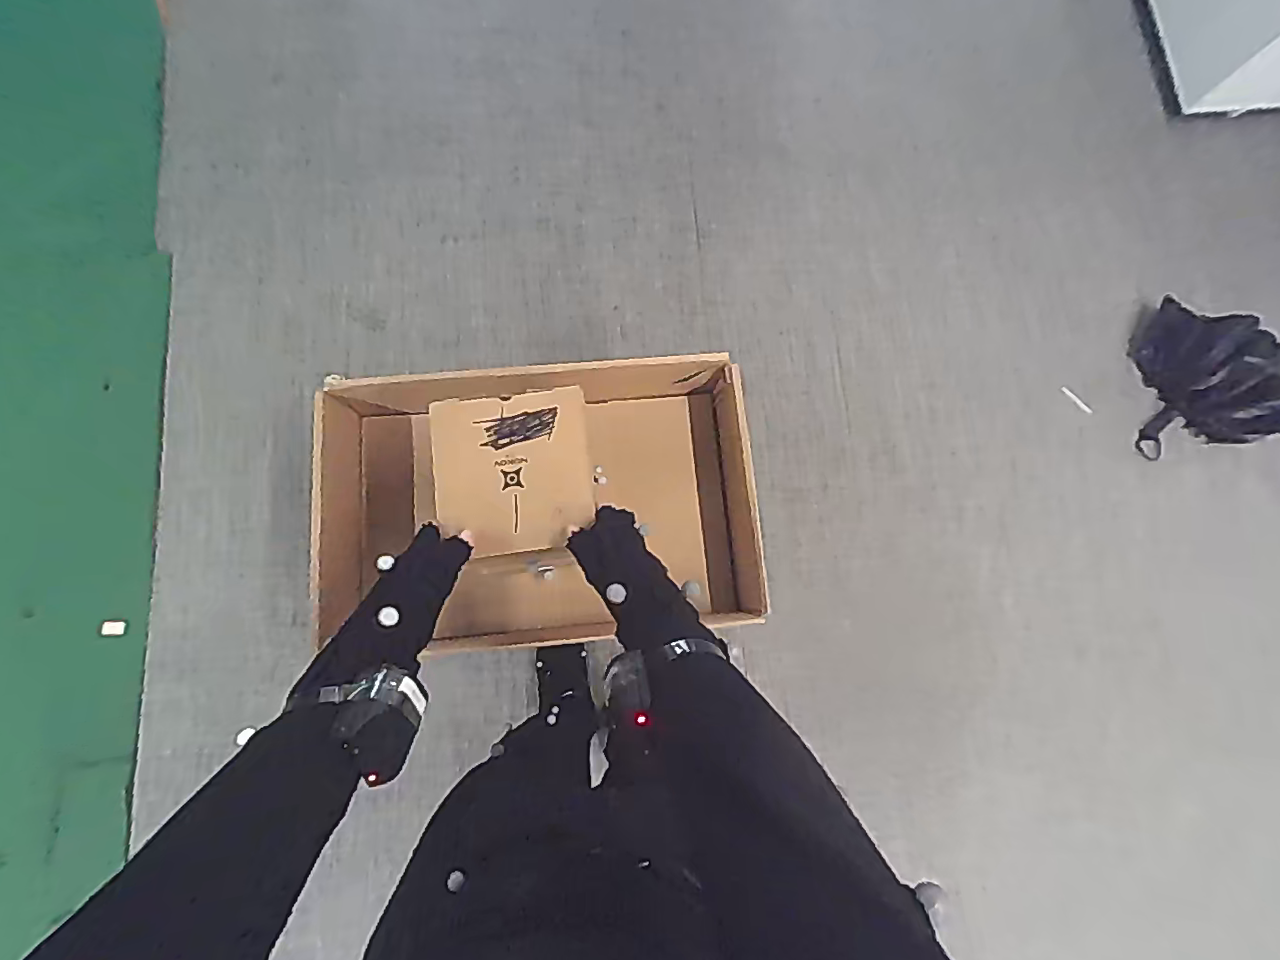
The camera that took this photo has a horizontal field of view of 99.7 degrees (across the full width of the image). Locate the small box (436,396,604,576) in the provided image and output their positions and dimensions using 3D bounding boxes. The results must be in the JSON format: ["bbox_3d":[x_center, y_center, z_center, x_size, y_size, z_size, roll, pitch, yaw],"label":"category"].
[{"bbox_3d":[-0.135,0.016,0.655,0.168,0.176,0.179,-8,78,-3],"label":"small box"}]
